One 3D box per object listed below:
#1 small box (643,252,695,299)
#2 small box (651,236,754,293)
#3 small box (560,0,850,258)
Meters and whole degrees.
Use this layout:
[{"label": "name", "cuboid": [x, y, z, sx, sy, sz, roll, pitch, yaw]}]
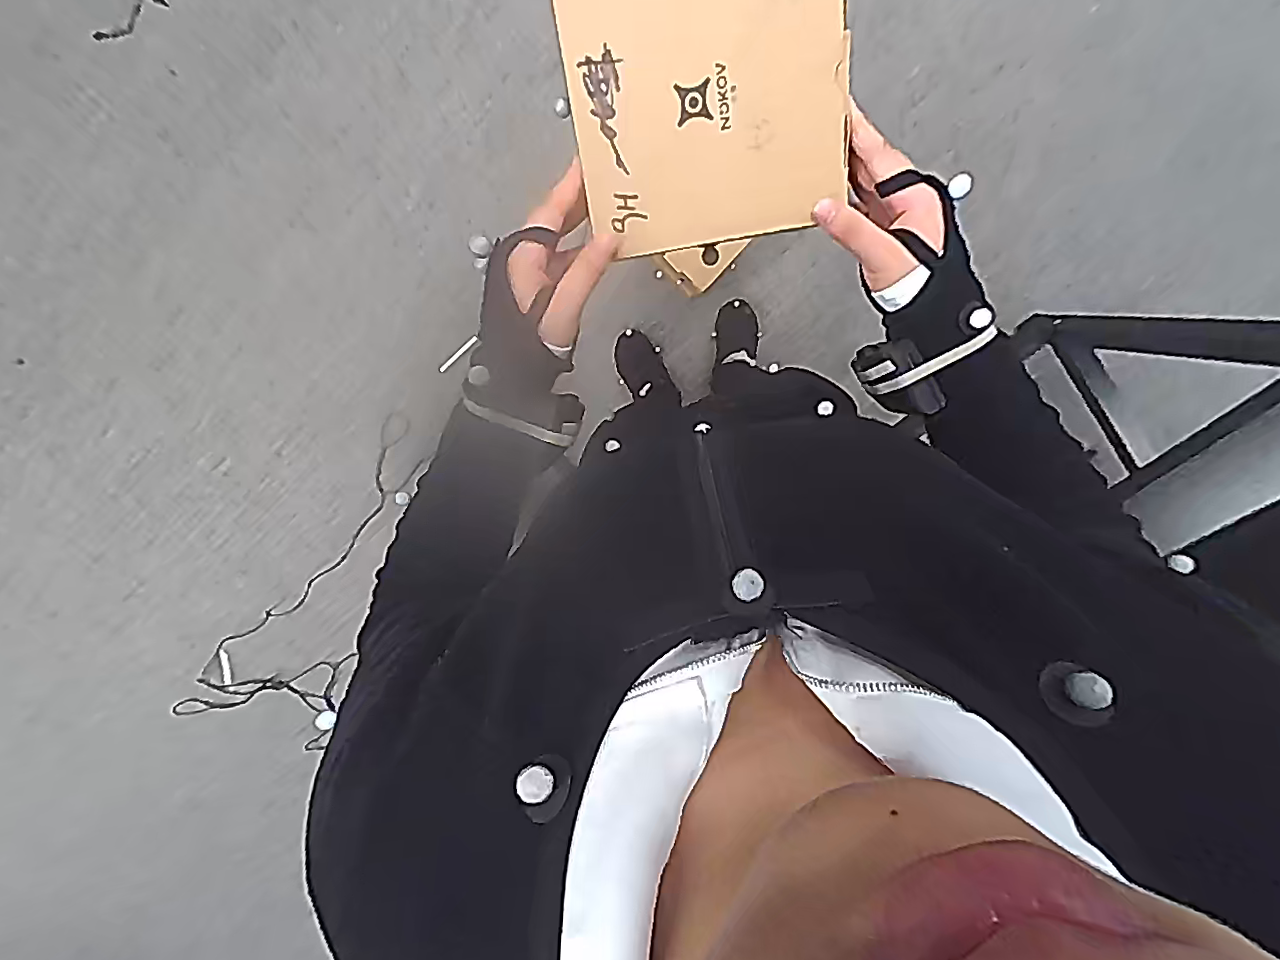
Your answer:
[{"label": "small box", "cuboid": [0.117, -0.549, 1.274, 0.179, 0.176, 0.168, -43, 102, 13]}, {"label": "small box", "cuboid": [0.120, -0.506, 1.117, 0.168, 0.176, 0.179, 42, 102, -12]}, {"label": "small box", "cuboid": [0.047, -0.275, 0.421, 0.179, 0.176, 0.168, -7, 112, 5]}]
